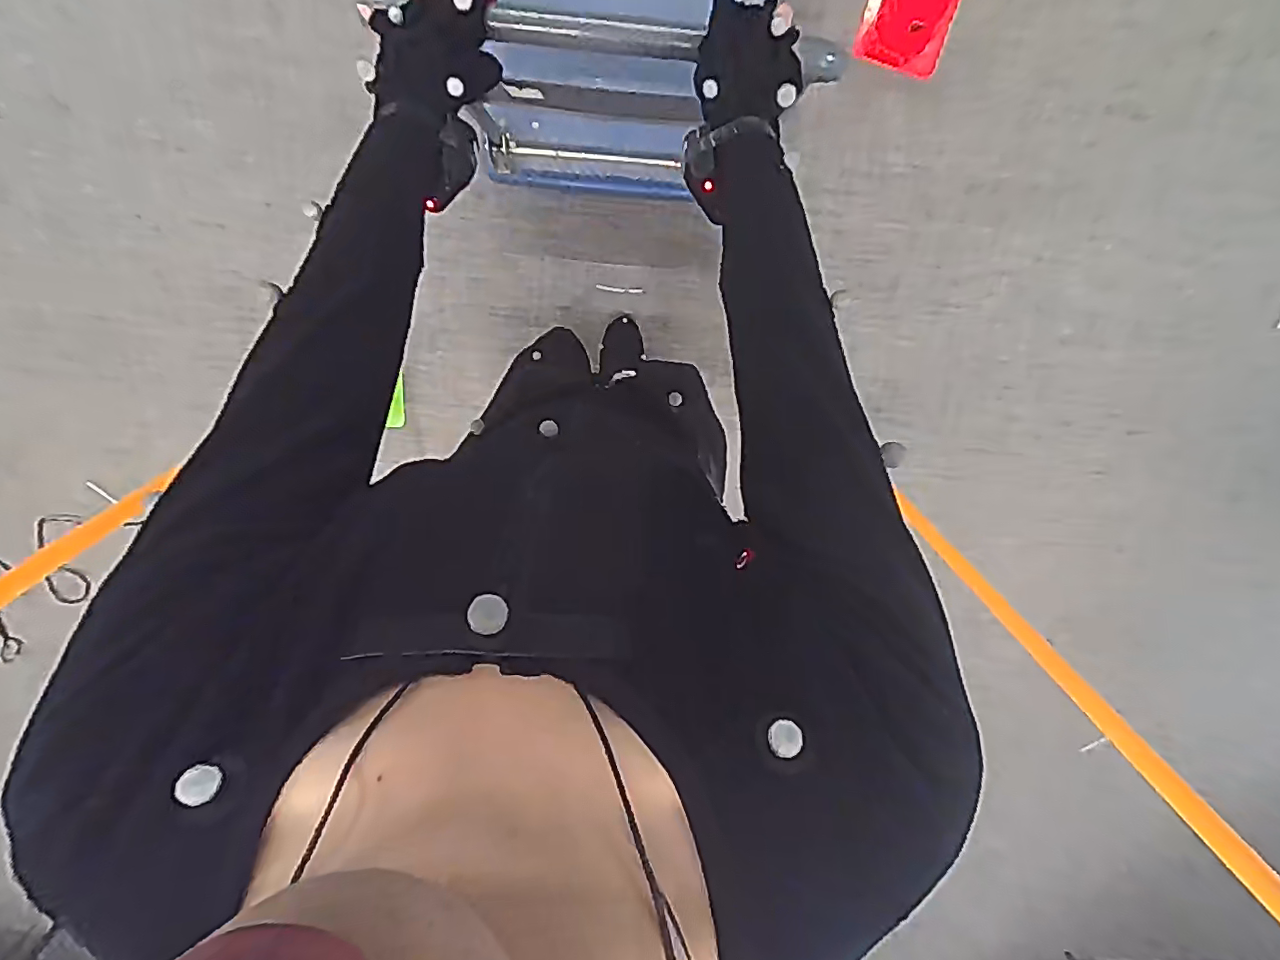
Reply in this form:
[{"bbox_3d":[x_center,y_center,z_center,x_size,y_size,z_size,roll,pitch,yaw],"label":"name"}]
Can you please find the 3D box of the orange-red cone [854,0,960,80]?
[{"bbox_3d":[0.607,-0.993,1.061,0.198,0.360,0.199,16,106,-5],"label":"orange-red cone"}]
